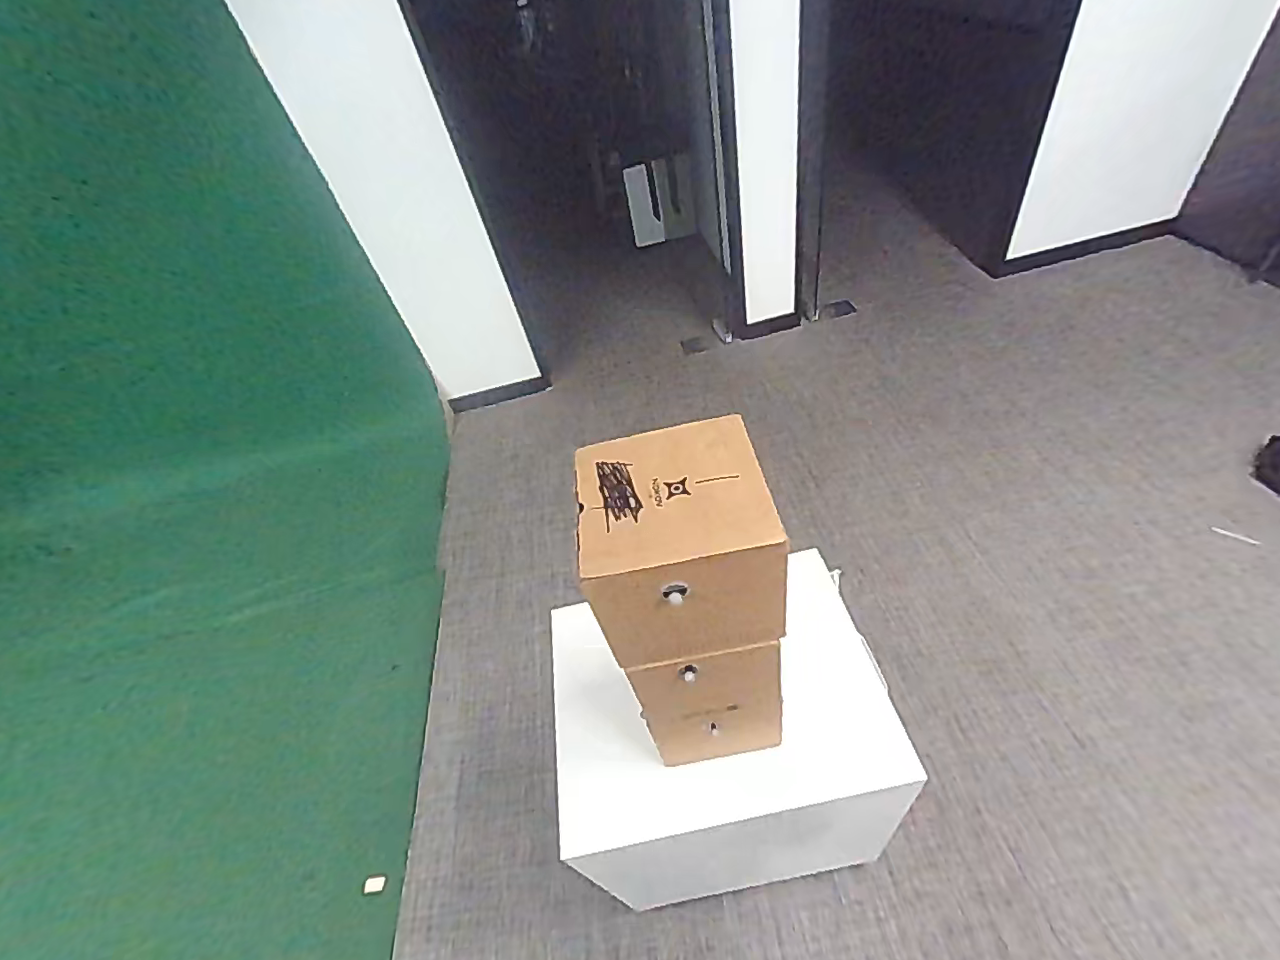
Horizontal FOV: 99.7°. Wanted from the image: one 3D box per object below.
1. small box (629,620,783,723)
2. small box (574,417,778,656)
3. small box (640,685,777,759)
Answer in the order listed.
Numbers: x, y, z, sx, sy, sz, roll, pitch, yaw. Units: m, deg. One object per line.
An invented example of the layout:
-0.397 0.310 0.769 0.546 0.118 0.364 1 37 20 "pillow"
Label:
0.071 0.177 0.680 0.168 0.176 0.179 -13 46 1 "small box"
0.038 0.064 0.562 0.179 0.176 0.168 -11 46 3 "small box"
0.096 0.288 0.794 0.179 0.176 0.168 -12 45 2 "small box"
